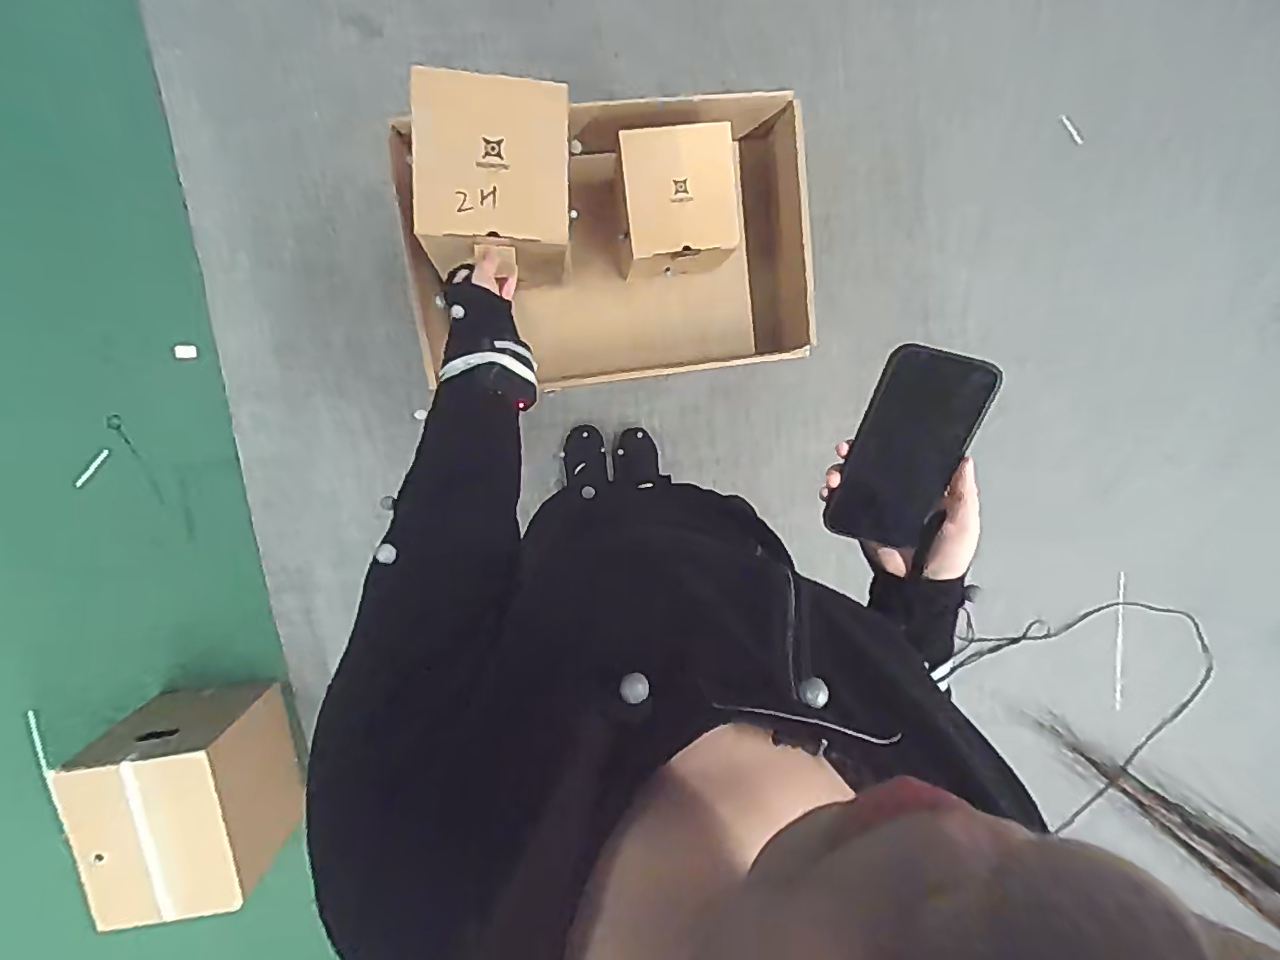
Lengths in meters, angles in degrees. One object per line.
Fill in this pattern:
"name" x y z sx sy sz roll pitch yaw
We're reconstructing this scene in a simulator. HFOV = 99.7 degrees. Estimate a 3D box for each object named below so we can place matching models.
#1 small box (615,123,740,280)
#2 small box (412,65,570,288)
"small box" 0.052 -0.435 0.867 0.168 0.176 0.179 -7 100 -4
"small box" -0.175 -0.354 0.665 0.168 0.176 0.179 1 94 -9
